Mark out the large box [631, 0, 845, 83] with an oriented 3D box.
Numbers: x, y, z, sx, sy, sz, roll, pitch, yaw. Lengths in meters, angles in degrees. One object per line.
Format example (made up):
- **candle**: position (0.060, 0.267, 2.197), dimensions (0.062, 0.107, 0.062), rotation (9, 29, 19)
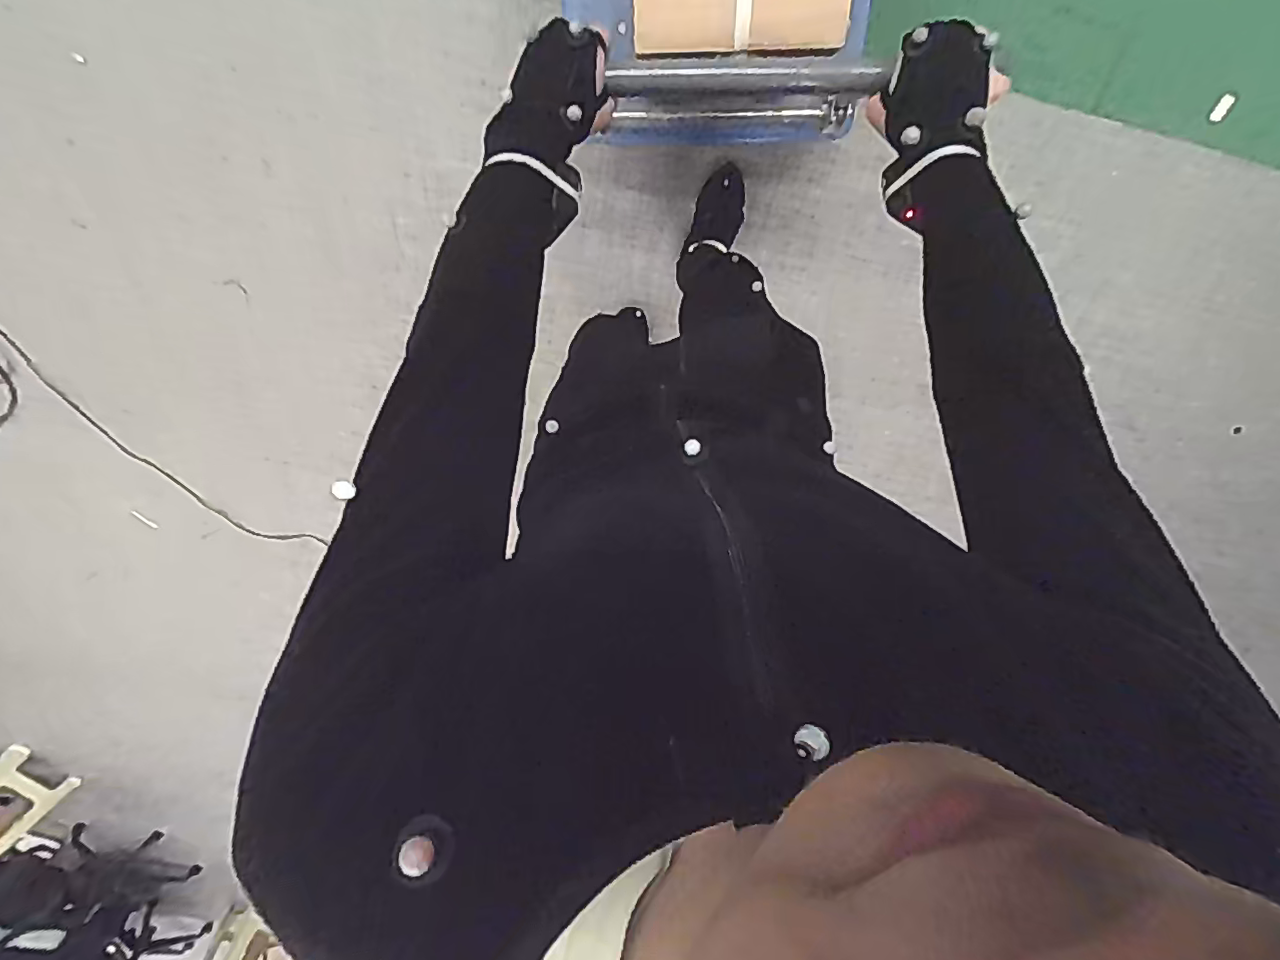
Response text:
- **large box**: position (0.146, -0.895, 0.845), dimensions (0.320, 0.320, 0.408), rotation (0, 119, 3)
